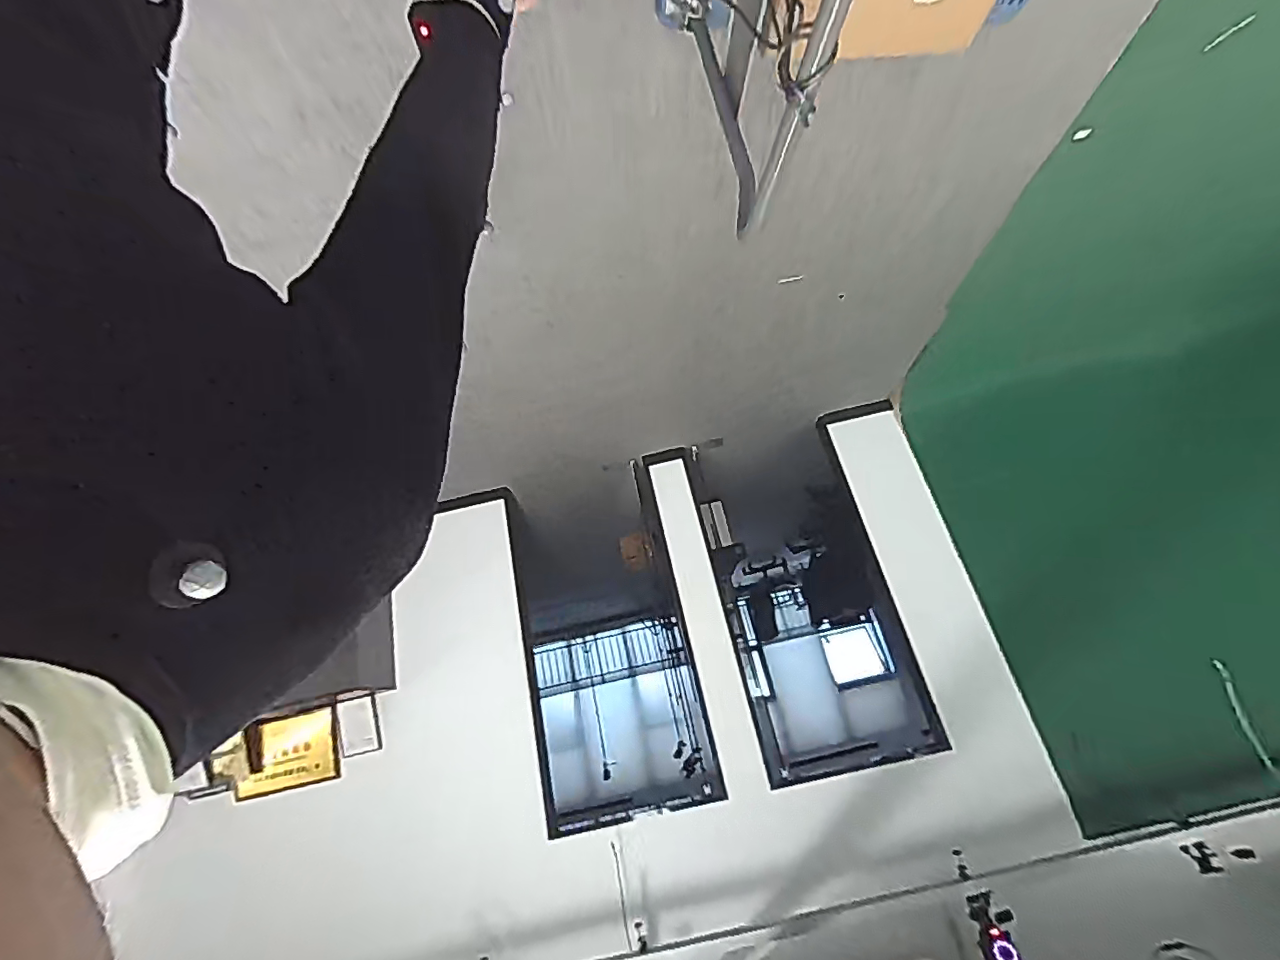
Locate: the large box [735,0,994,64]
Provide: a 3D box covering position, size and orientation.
[{"bbox_3d":[0.384,-0.951,0.885,0.408,0.320,0.320,-10,159,-9],"label":"large box"}]
